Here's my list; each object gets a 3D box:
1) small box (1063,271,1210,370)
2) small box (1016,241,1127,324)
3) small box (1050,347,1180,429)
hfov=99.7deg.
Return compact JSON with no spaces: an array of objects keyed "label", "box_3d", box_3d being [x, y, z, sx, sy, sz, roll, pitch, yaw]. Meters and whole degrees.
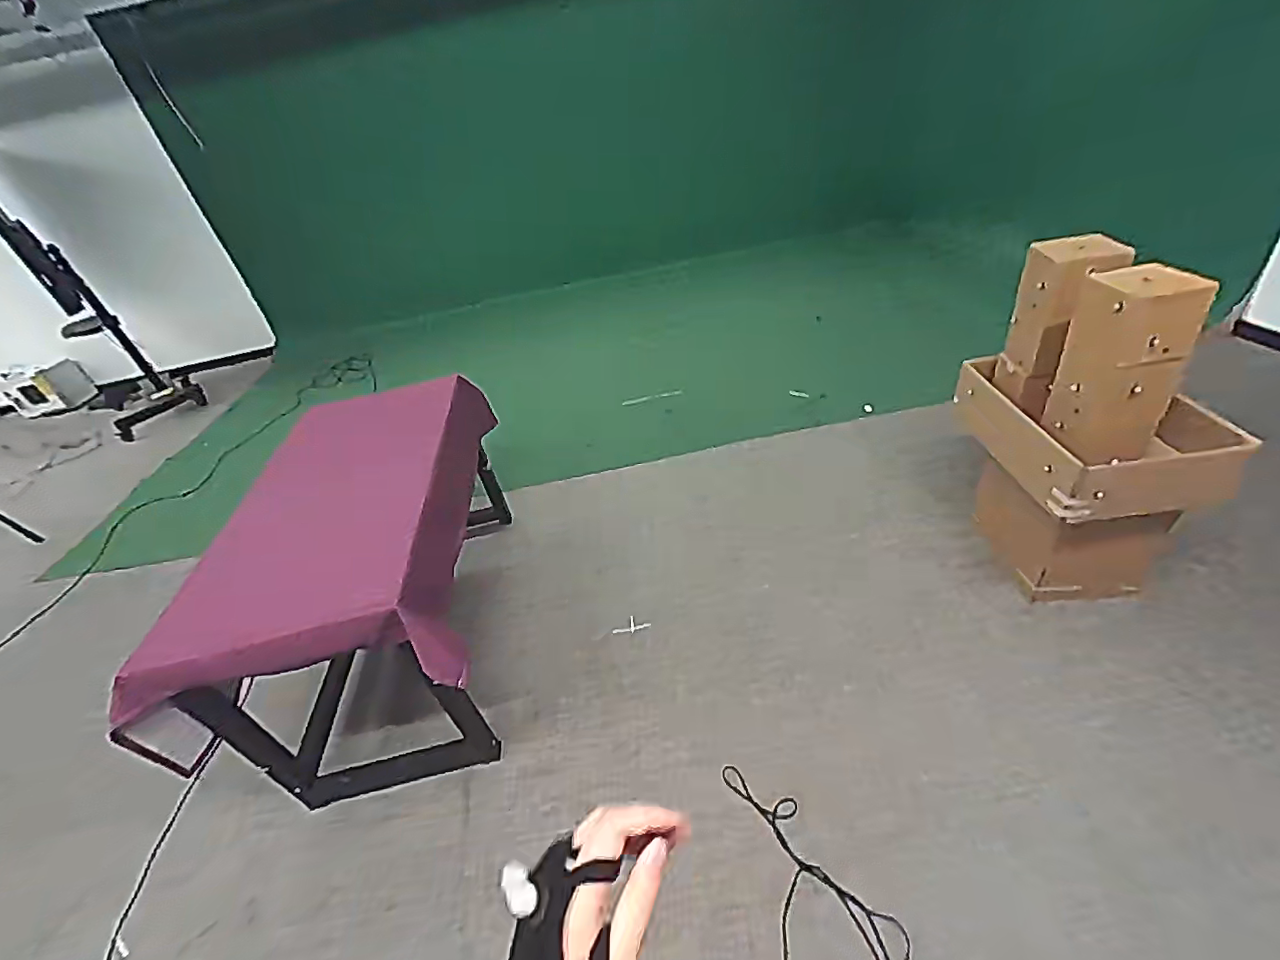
[{"label":"small box","box_3d":[1.157,-0.378,1.282,0.168,0.176,0.179,-9,36,3]},{"label":"small box","box_3d":[1.177,-0.543,1.496,0.179,0.176,0.168,-5,38,9]},{"label":"small box","box_3d":[1.187,-0.245,1.373,0.179,0.176,0.168,-11,36,3]}]
